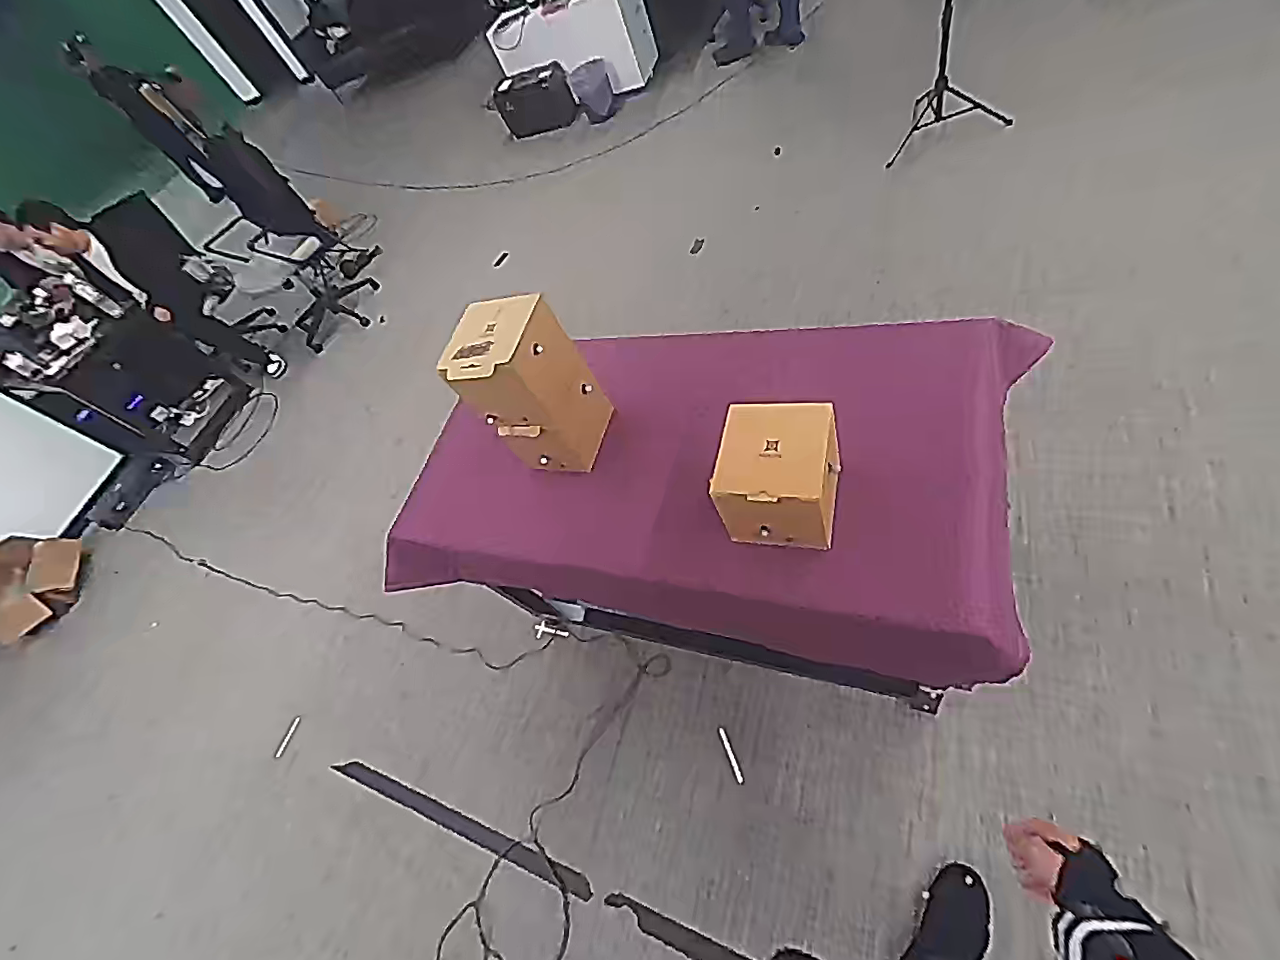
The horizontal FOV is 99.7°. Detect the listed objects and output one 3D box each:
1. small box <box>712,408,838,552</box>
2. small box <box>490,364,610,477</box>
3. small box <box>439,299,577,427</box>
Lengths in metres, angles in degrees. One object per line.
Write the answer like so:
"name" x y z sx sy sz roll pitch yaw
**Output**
"small box" 0.232 -0.001 0.895 0.168 0.176 0.179 3 60 25
"small box" -0.182 -0.128 1.163 0.168 0.176 0.179 4 61 27
"small box" -0.241 -0.213 1.035 0.168 0.176 0.179 0 58 24
